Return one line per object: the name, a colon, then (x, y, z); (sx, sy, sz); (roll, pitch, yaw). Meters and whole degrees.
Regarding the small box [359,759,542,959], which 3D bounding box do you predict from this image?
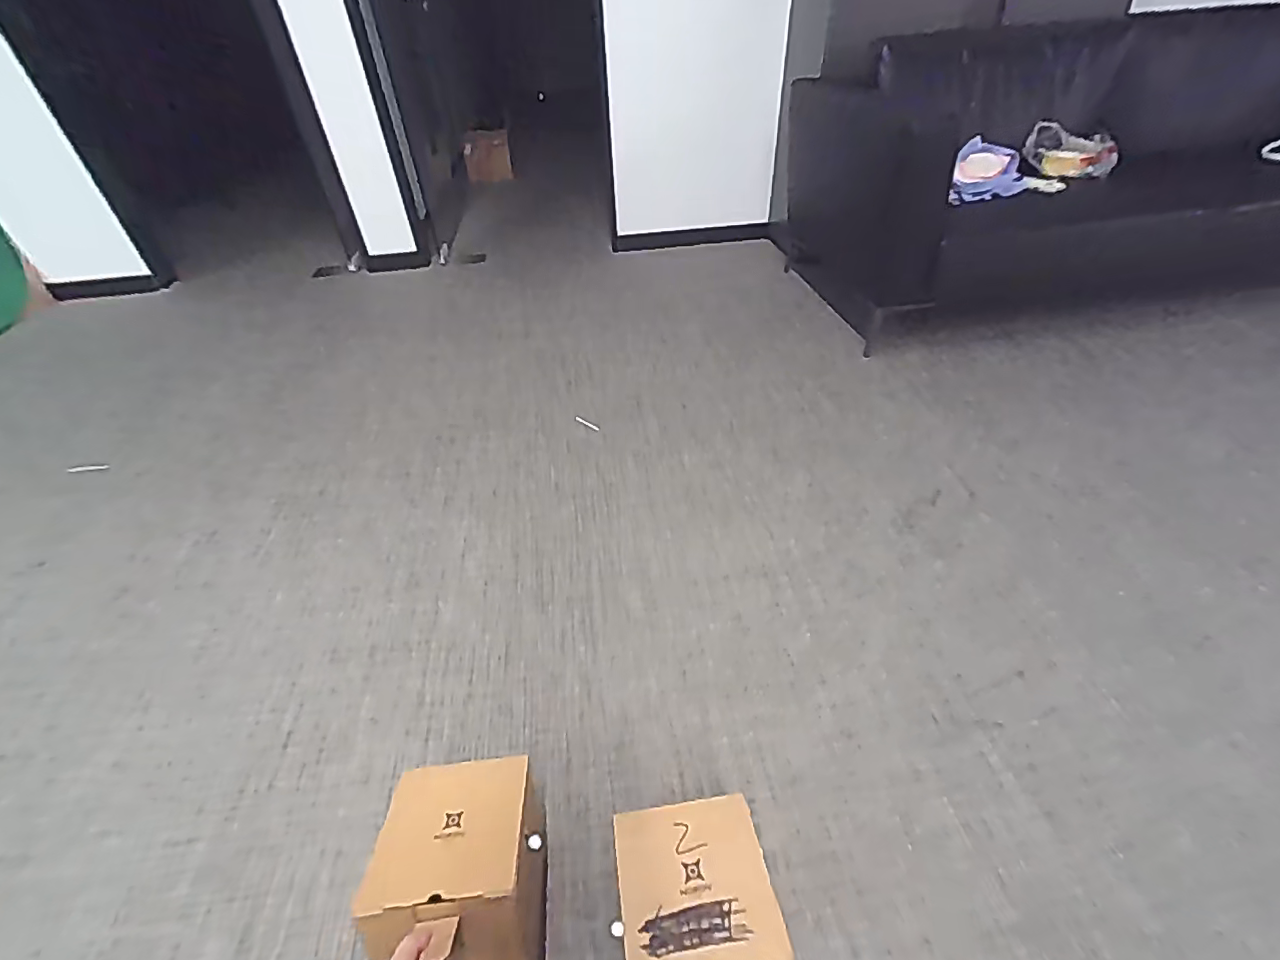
small box: (-0.216, 0.487, 0.672); (0.168, 0.176, 0.179); (-5, 22, -4)
